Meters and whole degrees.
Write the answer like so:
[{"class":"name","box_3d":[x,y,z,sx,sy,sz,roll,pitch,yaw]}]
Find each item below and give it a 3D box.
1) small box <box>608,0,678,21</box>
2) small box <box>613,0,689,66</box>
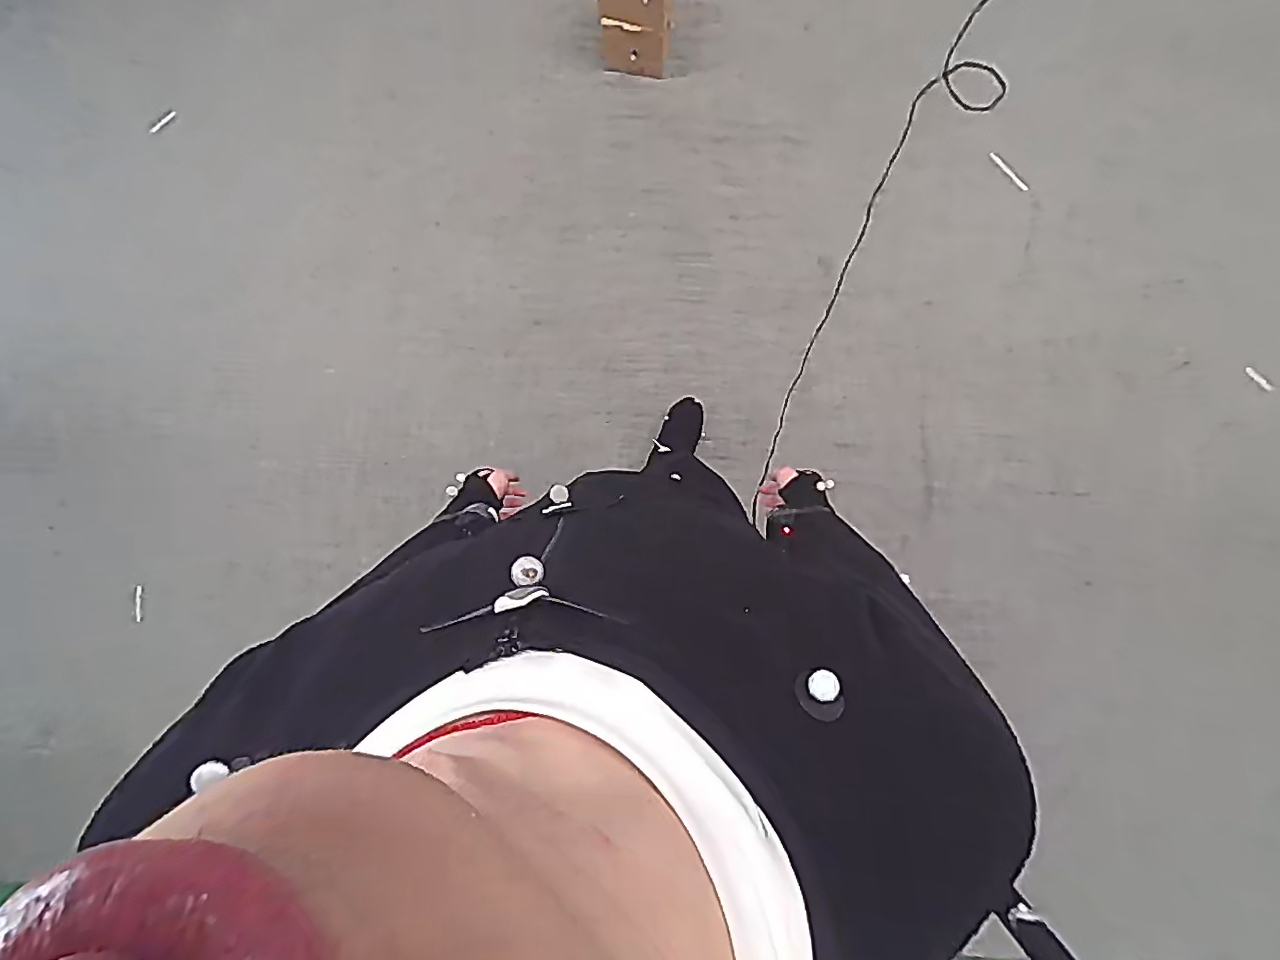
[{"class":"small box","box_3d":[0.017,-1.237,1.270,0.179,0.176,0.168,16,91,4]},{"class":"small box","box_3d":[0.023,-1.249,1.425,0.179,0.176,0.168,-20,89,5]}]
